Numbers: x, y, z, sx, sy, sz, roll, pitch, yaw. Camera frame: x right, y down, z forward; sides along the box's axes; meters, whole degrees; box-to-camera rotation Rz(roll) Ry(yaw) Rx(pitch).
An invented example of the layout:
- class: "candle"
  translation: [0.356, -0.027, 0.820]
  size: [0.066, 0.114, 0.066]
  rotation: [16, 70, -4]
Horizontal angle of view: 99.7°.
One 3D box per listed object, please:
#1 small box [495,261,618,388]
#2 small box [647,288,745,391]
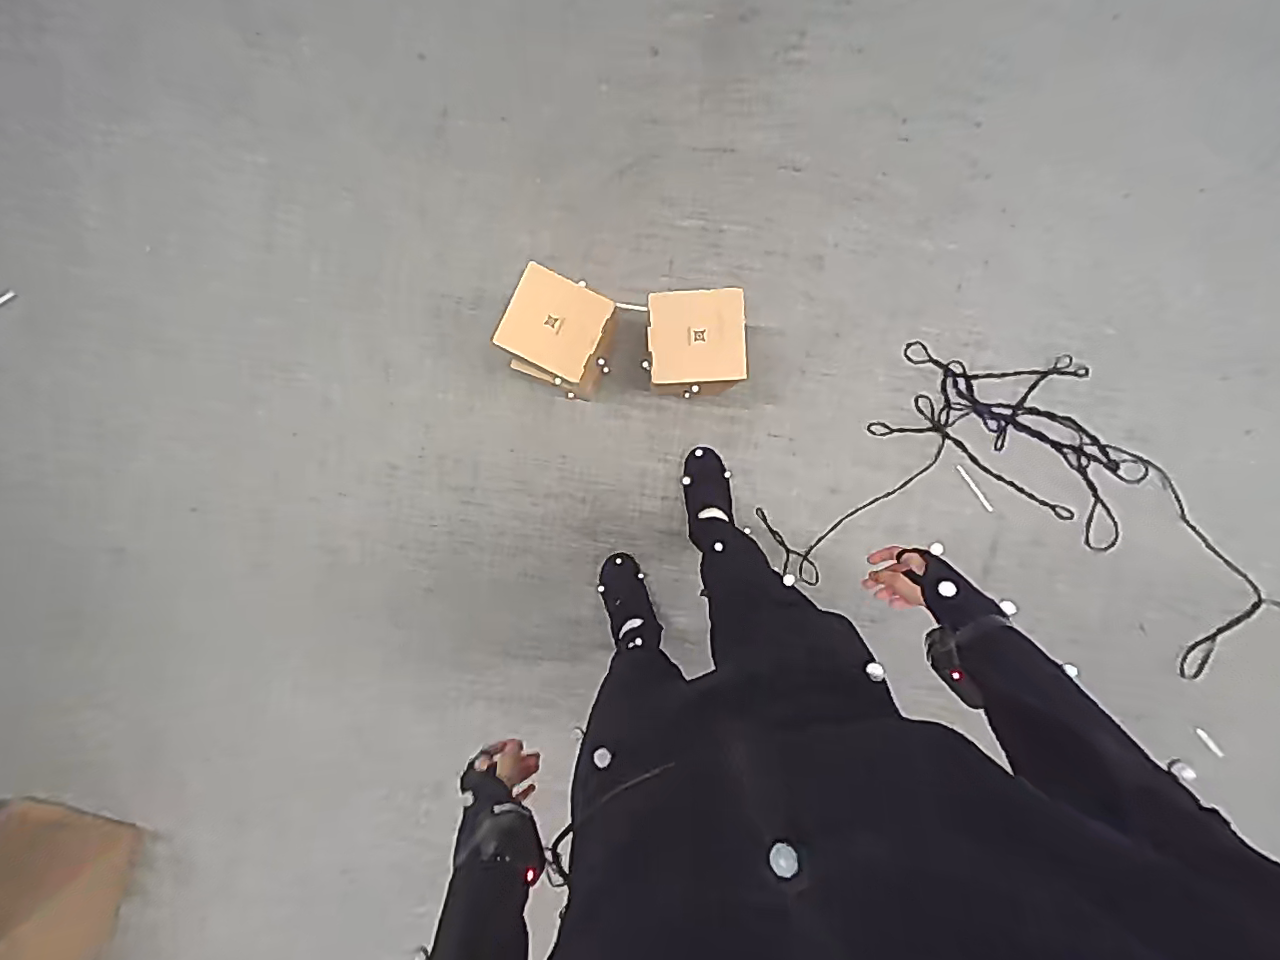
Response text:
- class: "small box"
  translation: [-0.155, -0.293, 1.066]
  size: [0.179, 0.176, 0.168]
  rotation: [26, 93, -2]
- class: "small box"
  translation: [0.106, -0.267, 1.061]
  size: [0.179, 0.176, 0.168]
  rotation: [-3, 94, 1]
